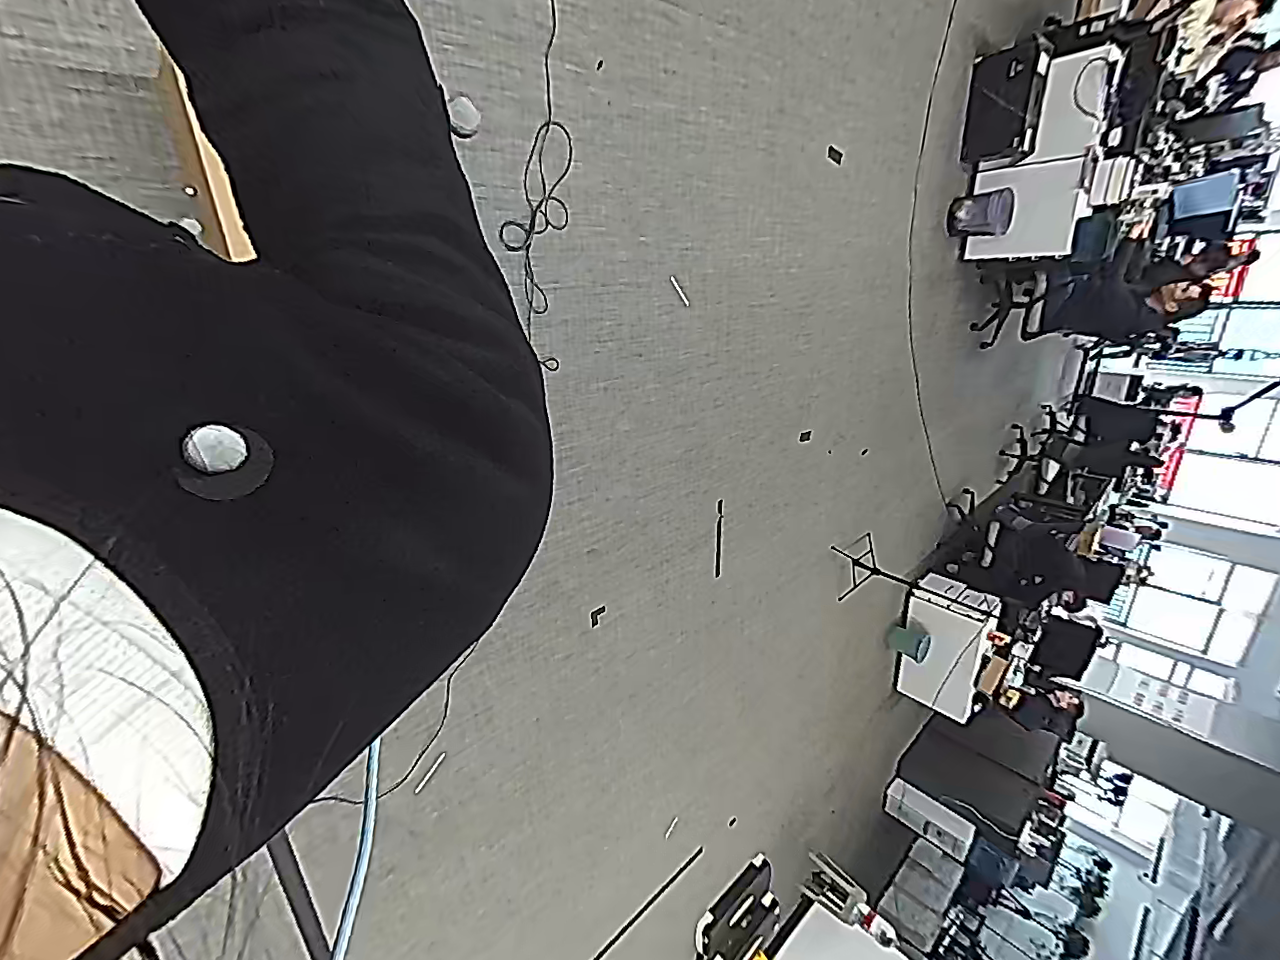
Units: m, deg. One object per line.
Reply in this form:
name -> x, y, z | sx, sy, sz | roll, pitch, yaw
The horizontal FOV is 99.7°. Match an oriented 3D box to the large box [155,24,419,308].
large box -> -0.682, -0.563, 1.062 | 0.320, 0.320, 0.408 | -21, 117, -39
